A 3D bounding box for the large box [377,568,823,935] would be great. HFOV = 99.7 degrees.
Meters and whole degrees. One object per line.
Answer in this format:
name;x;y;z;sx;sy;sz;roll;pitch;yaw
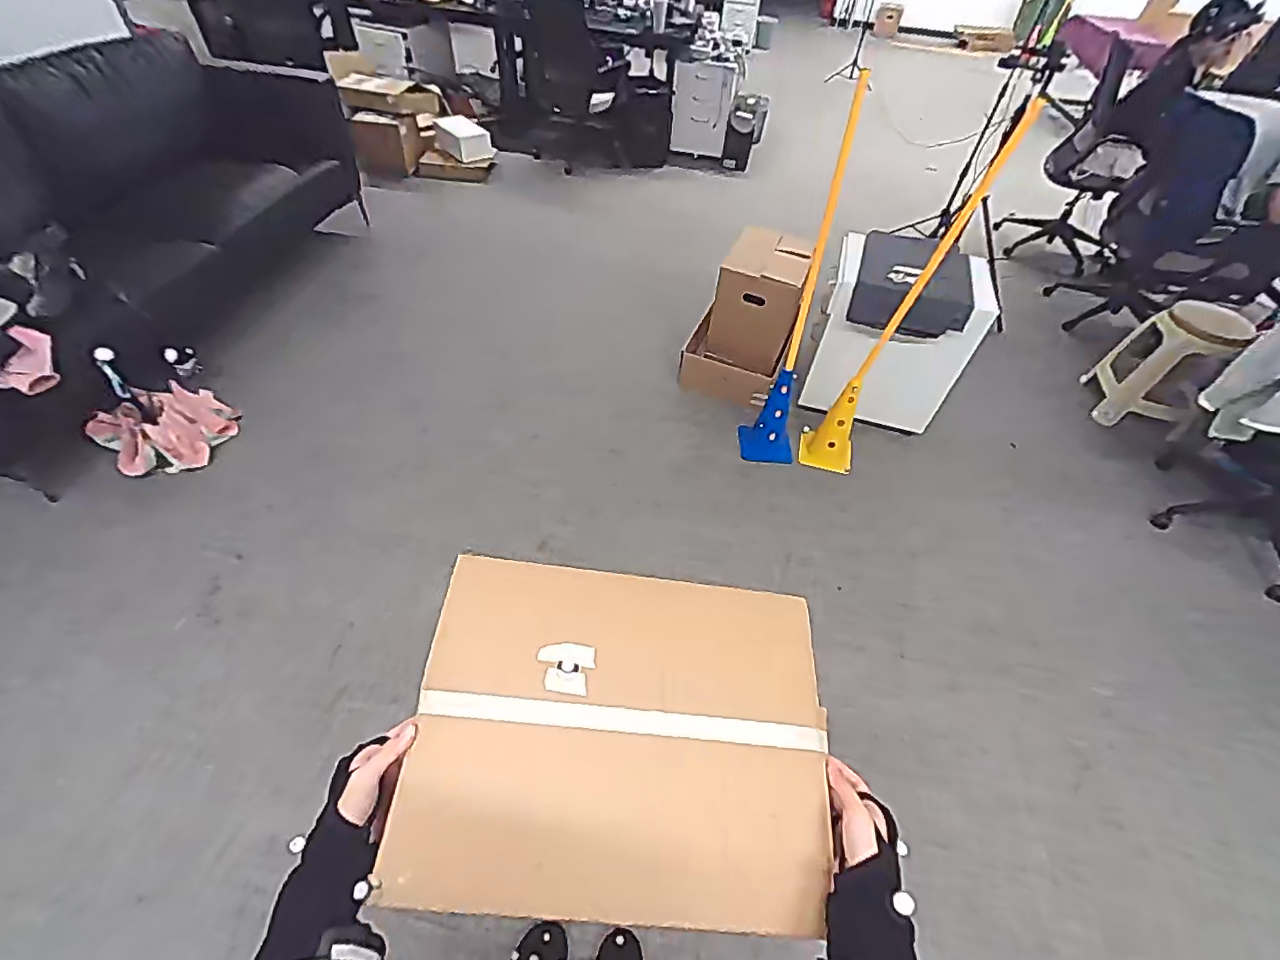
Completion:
large box;-0.036;0.329;0.677;0.408;0.320;0.320;8;57;-4
